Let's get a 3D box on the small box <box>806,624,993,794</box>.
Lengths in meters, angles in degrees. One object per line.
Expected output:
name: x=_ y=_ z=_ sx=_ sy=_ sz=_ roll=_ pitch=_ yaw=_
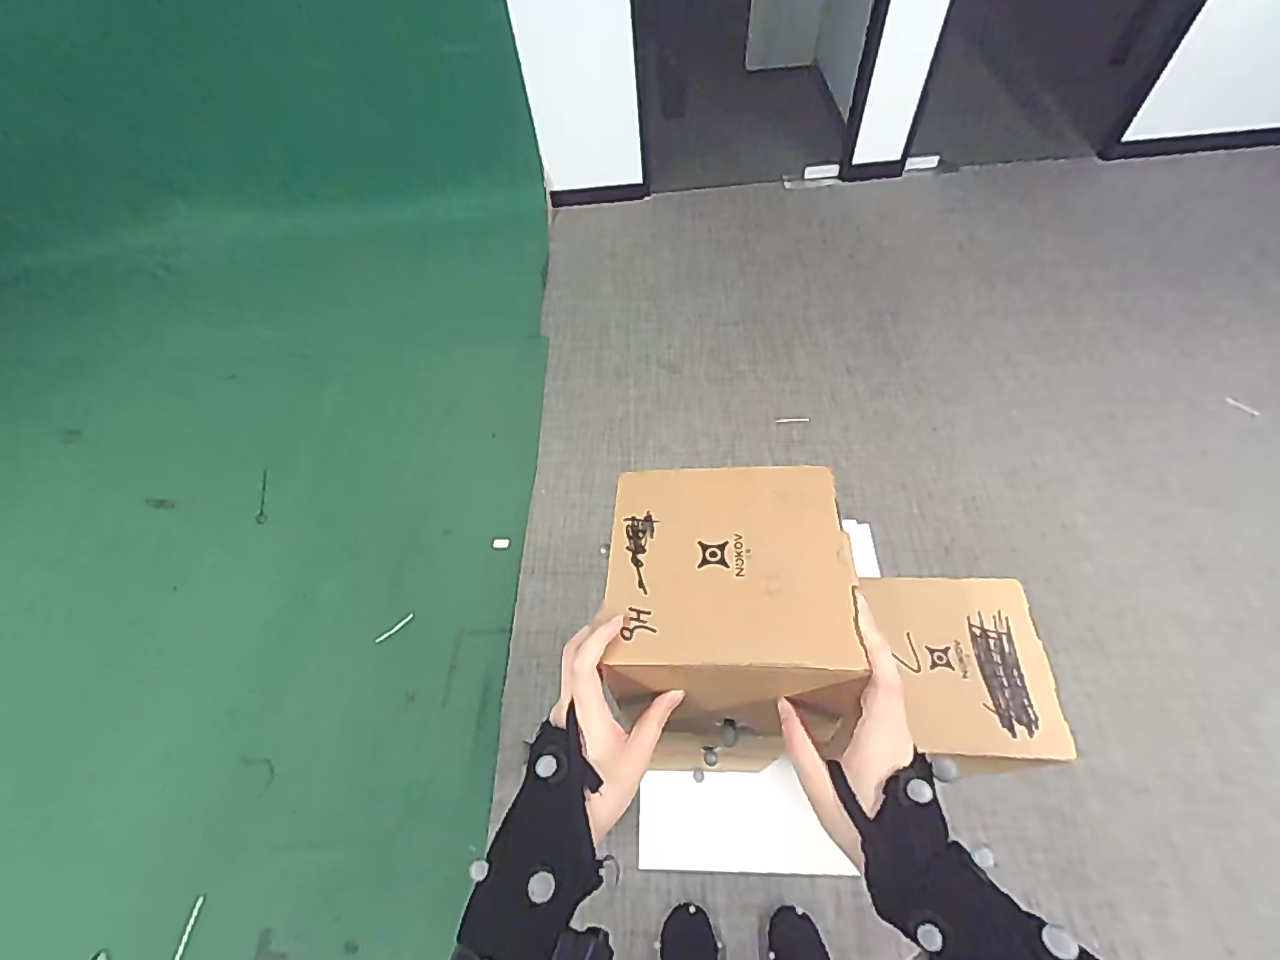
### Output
small box: x=0.322 y=0.305 z=0.716 sx=0.168 sy=0.176 sz=0.179 roll=-1 pitch=57 yaw=7

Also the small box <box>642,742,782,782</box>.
small box: x=0.091 y=0.304 z=0.740 sx=0.168 sy=0.176 sz=0.179 roll=-1 pitch=57 yaw=5

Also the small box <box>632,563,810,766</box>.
small box: x=0.083 y=0.209 z=0.605 sx=0.168 sy=0.176 sz=0.179 roll=0 pitch=56 yaw=5
